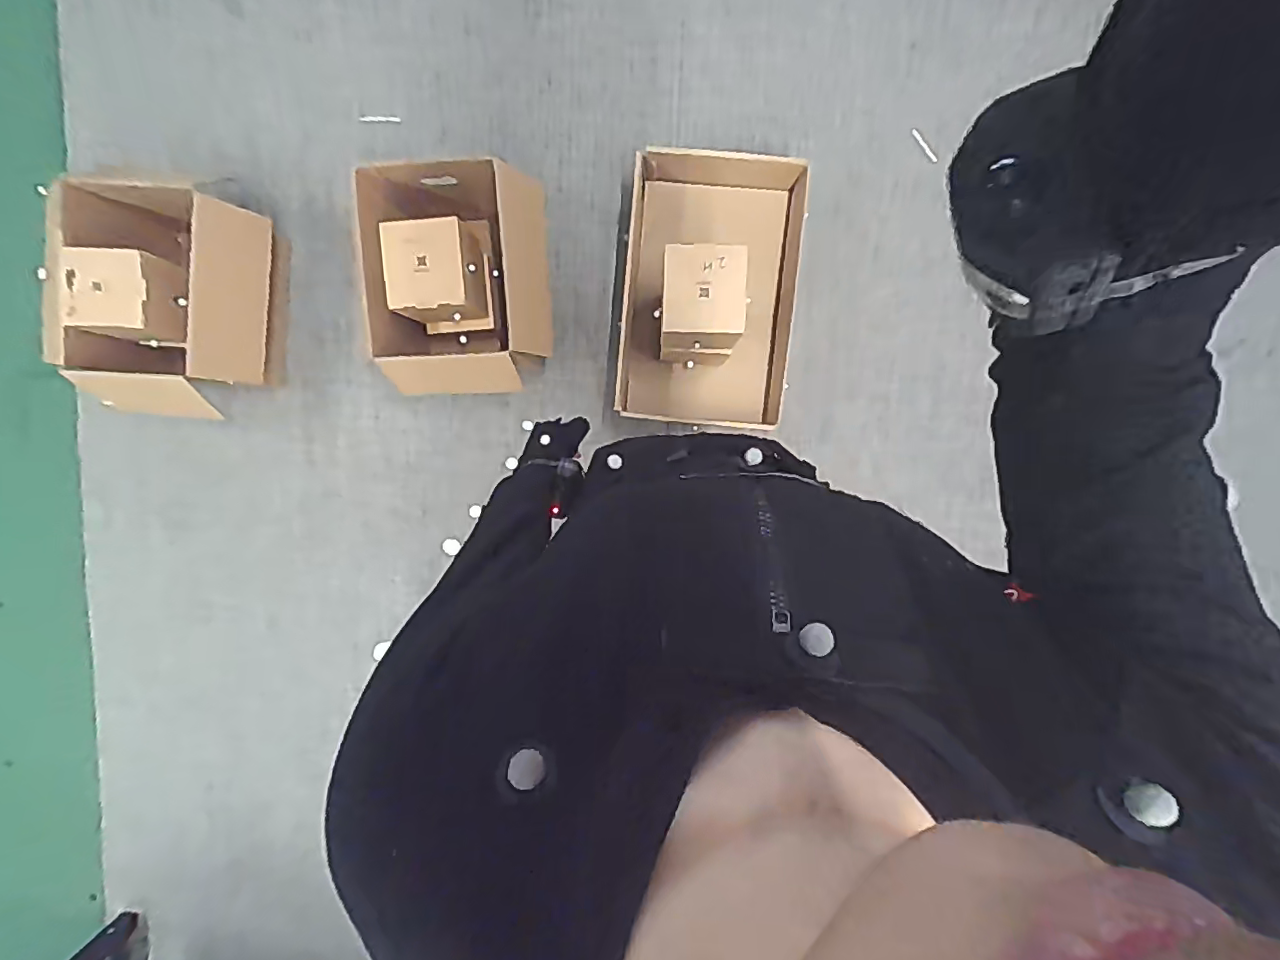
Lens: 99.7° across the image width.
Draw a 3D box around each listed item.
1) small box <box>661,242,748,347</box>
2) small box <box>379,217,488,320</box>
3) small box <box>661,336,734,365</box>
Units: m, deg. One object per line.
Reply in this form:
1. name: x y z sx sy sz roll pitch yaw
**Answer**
1. small box: 0.129 -0.382 1.139 0.168 0.176 0.179 1 93 1
2. small box: -0.443 -0.453 1.186 0.168 0.176 0.179 -3 96 2
3. small box: 0.138 -0.383 1.304 0.168 0.176 0.179 4 93 2
